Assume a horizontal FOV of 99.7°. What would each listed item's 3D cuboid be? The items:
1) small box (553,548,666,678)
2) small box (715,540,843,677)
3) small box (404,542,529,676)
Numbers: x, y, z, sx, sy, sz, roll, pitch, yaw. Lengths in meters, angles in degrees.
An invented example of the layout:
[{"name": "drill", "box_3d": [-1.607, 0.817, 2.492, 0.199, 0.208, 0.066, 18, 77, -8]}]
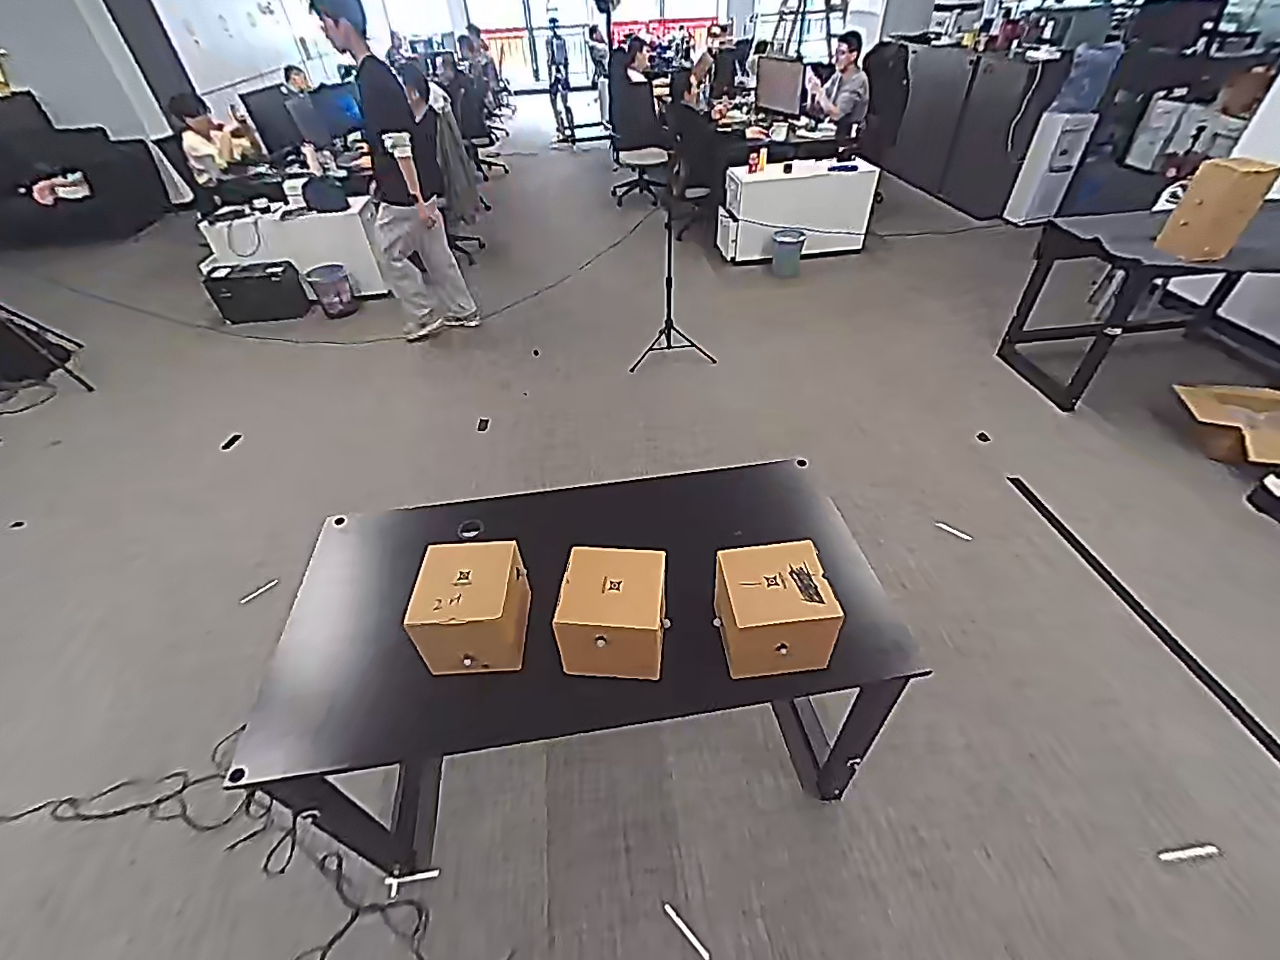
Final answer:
[{"name": "small box", "box_3d": [-0.044, 0.242, 0.980, 0.179, 0.176, 0.168, 1, 42, 6]}, {"name": "small box", "box_3d": [0.236, 0.231, 0.969, 0.179, 0.176, 0.168, -7, 42, -2]}, {"name": "small box", "box_3d": [-0.307, 0.238, 1.001, 0.168, 0.176, 0.179, -4, 42, 1]}]
